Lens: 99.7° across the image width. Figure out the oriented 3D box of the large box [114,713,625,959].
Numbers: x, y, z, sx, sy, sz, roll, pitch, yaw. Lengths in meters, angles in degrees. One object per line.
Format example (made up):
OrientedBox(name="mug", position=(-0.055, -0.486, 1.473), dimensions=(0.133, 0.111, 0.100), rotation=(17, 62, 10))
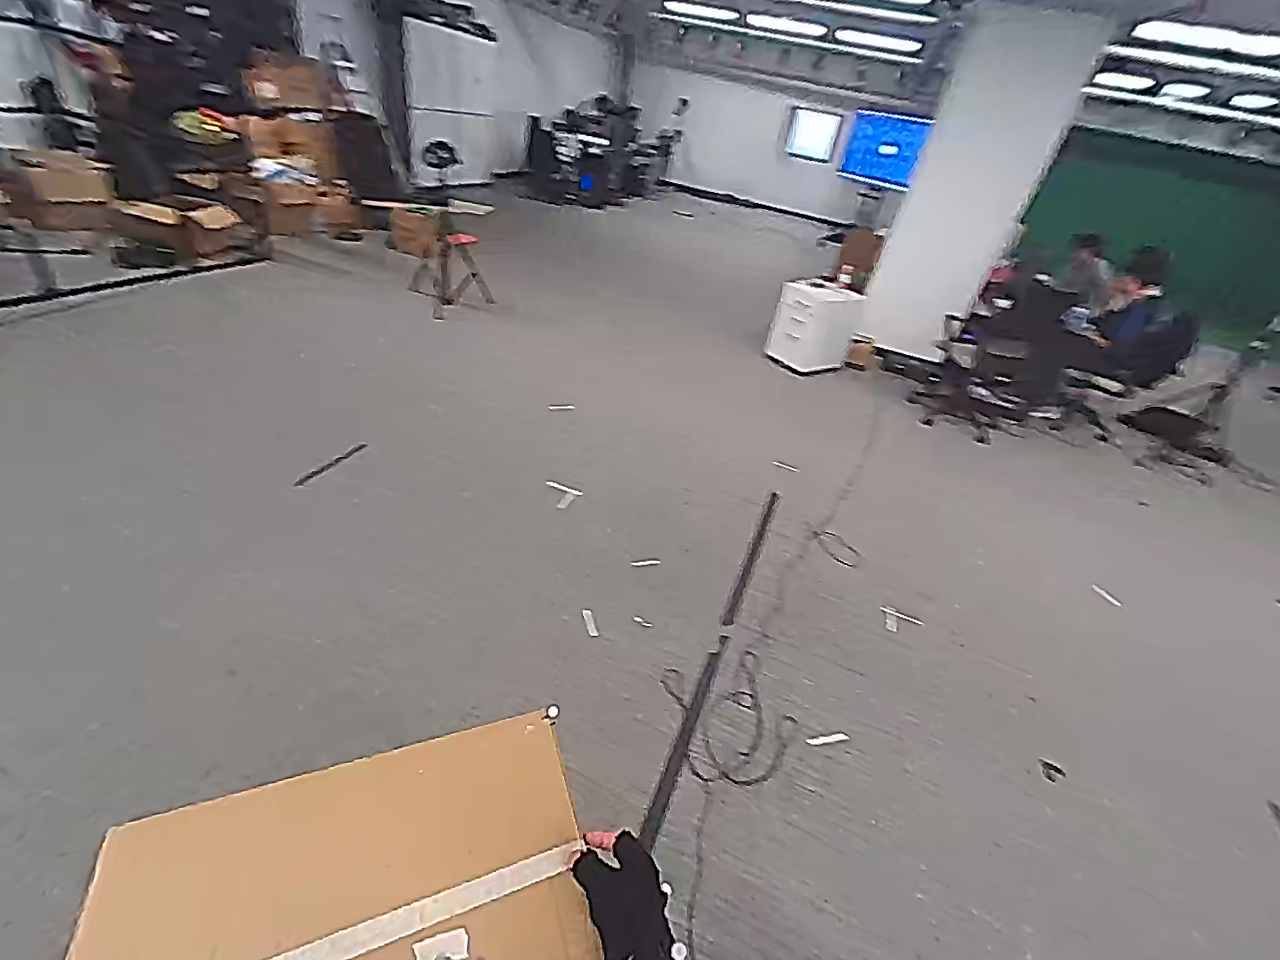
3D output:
OrientedBox(name="large box", position=(-0.252, 0.513, 0.566), dimensions=(0.408, 0.320, 0.320), rotation=(-6, 41, -21))
